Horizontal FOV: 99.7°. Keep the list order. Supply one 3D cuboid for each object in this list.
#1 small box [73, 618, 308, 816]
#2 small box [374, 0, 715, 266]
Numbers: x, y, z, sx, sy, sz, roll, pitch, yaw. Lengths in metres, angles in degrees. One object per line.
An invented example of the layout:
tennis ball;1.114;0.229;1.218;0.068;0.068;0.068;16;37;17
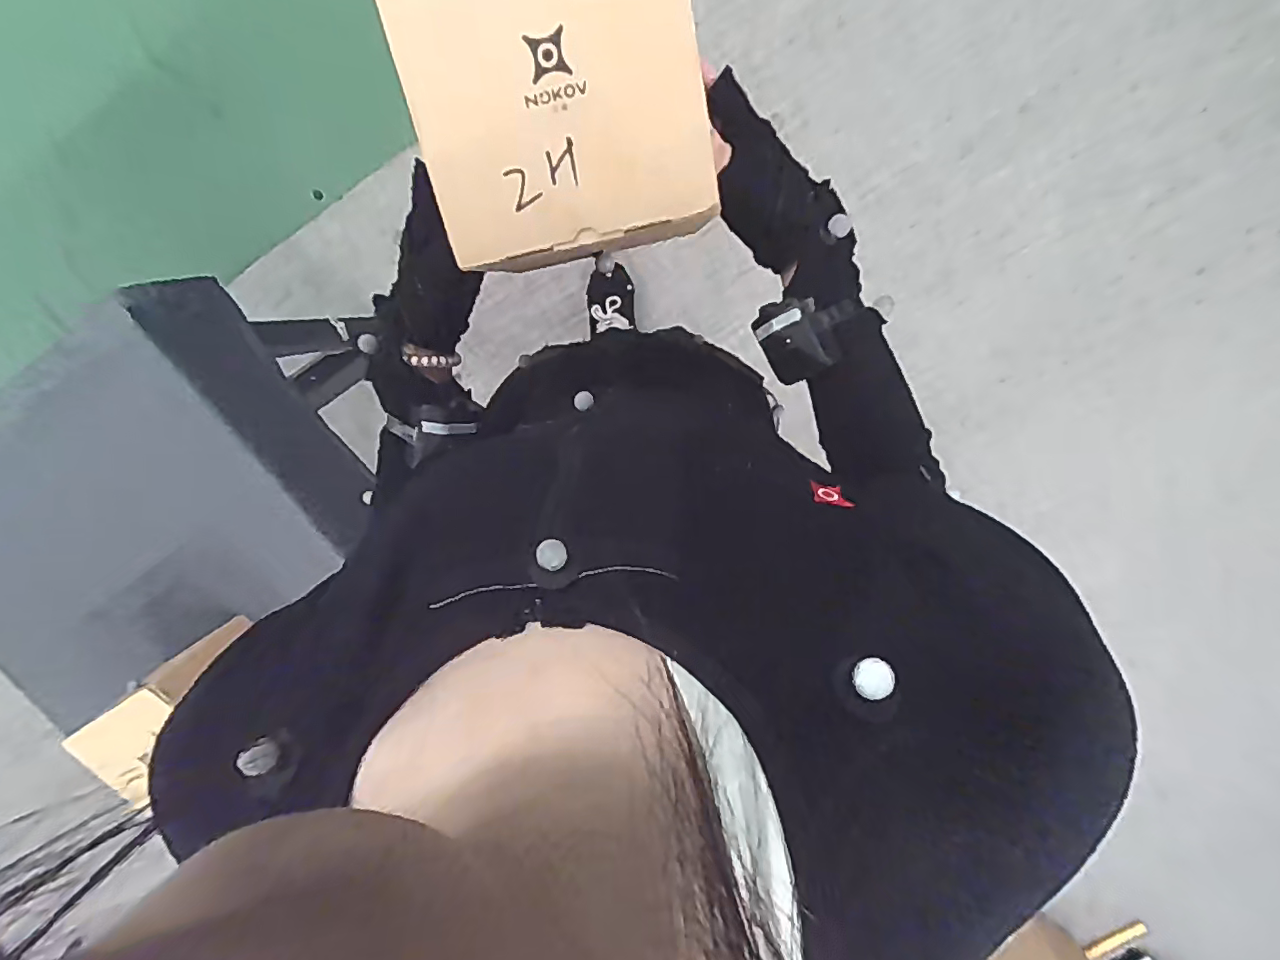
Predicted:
small box;-0.632;0.336;0.792;0.179;0.176;0.168;-31;105;12
small box;-0.051;-0.255;0.370;0.168;0.176;0.179;-11;111;6
